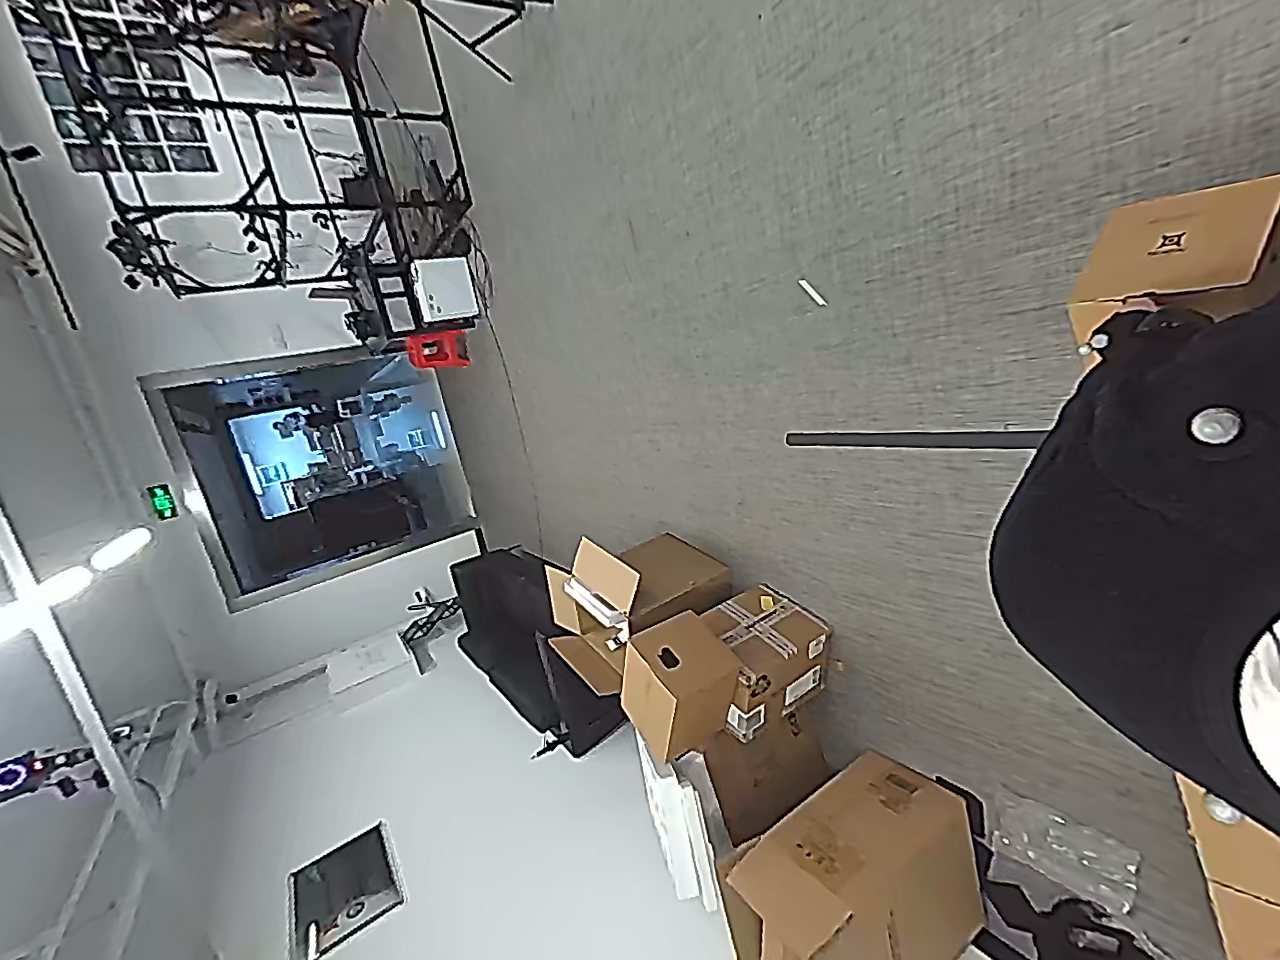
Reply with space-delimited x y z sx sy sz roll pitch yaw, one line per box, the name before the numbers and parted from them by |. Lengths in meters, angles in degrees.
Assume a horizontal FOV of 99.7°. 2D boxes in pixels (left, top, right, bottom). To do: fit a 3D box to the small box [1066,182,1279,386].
small box | 0.703 -0.240 0.710 0.176 0.179 0.168 41 165 -33
